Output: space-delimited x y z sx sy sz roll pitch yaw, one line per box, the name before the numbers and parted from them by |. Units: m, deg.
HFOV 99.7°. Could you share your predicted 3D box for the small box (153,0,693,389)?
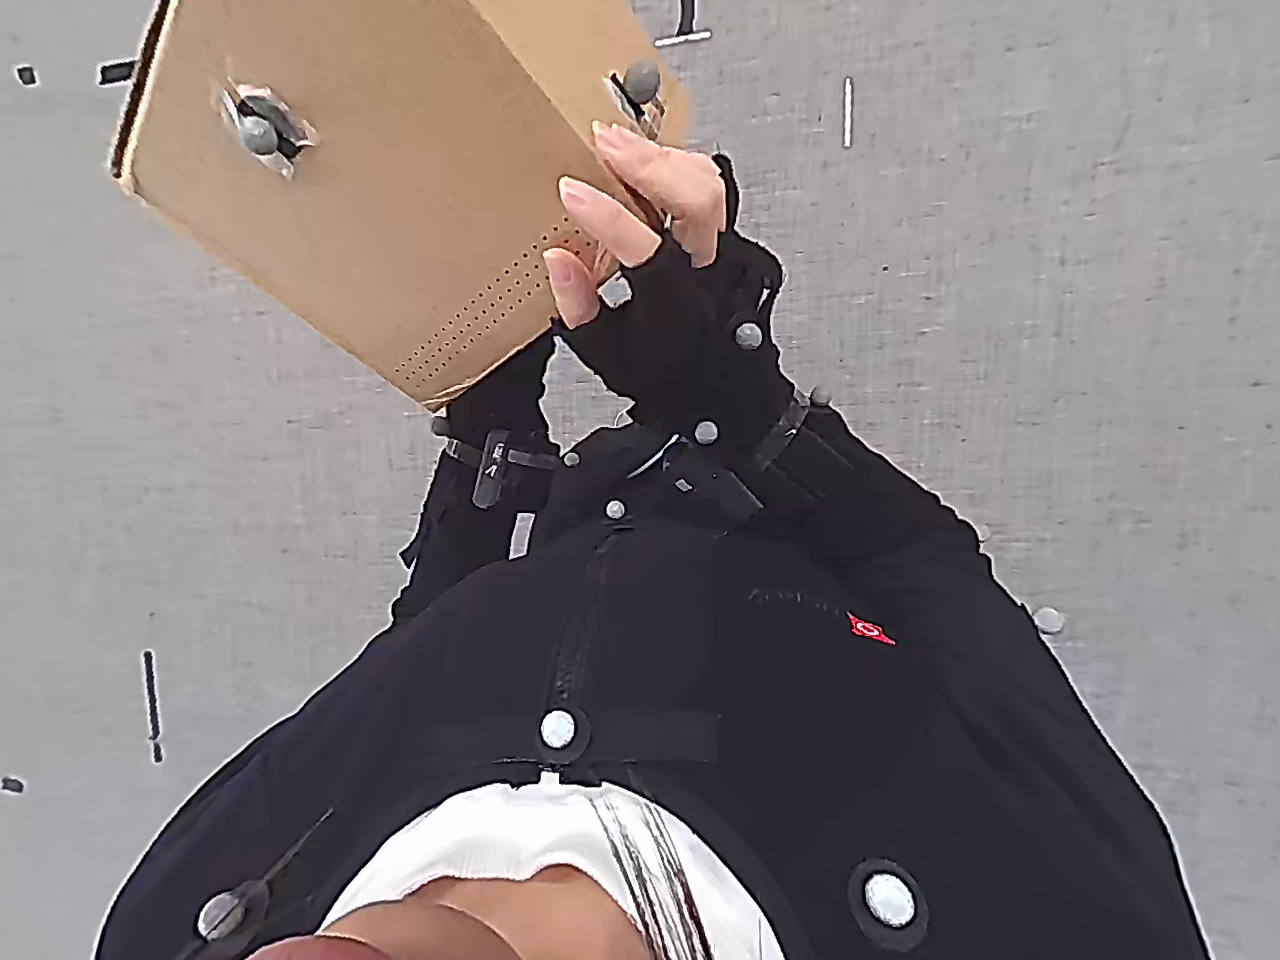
small box | -0.094 -0.180 0.290 0.179 0.168 0.176 -24 132 33
